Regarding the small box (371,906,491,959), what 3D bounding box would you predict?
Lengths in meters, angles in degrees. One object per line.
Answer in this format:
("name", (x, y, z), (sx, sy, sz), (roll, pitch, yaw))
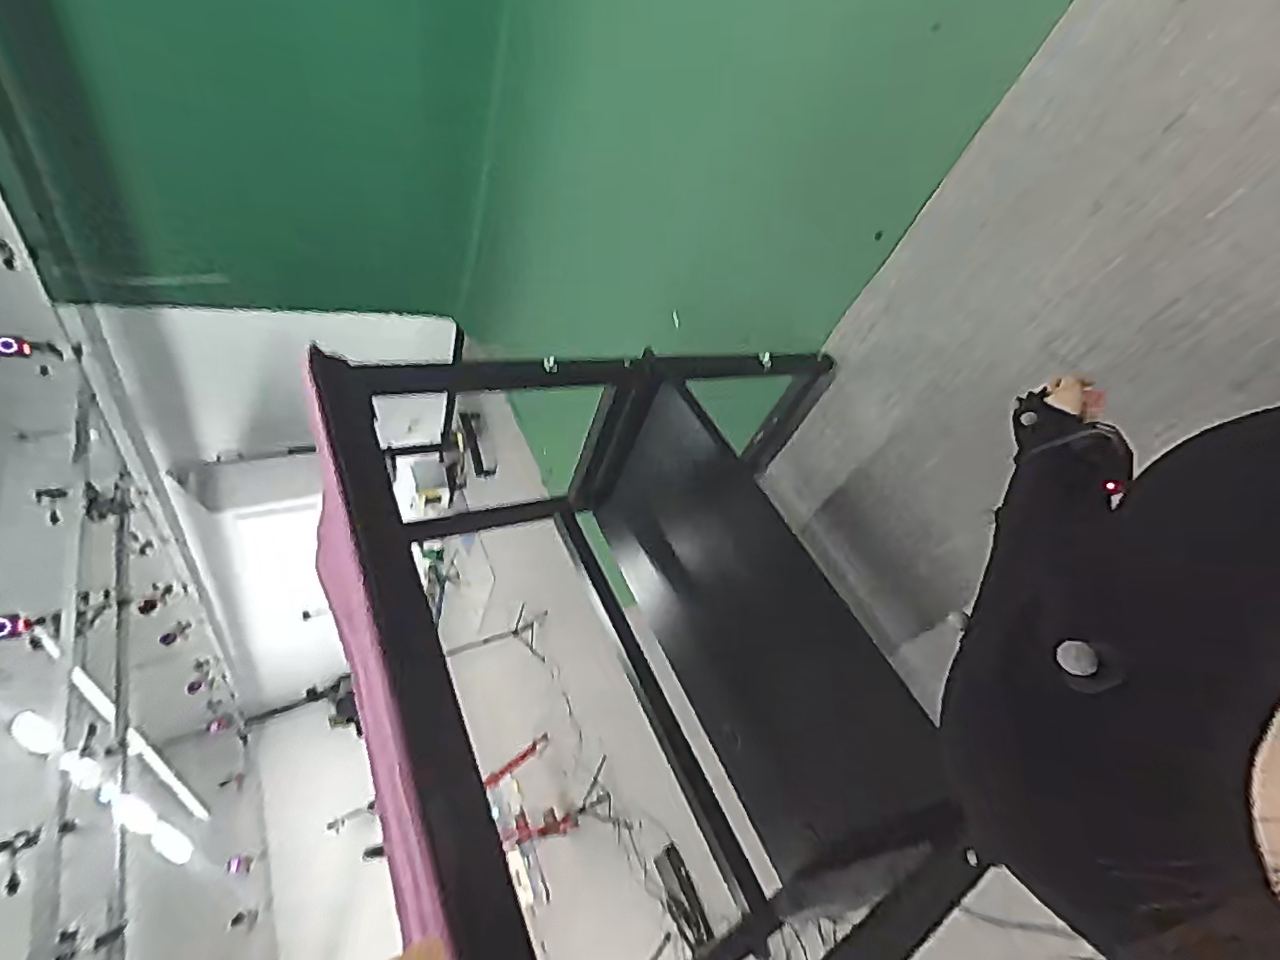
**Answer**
("small box", (-0.239, 0.587, 0.565), (0.168, 0.176, 0.179), (59, 143, 29))
